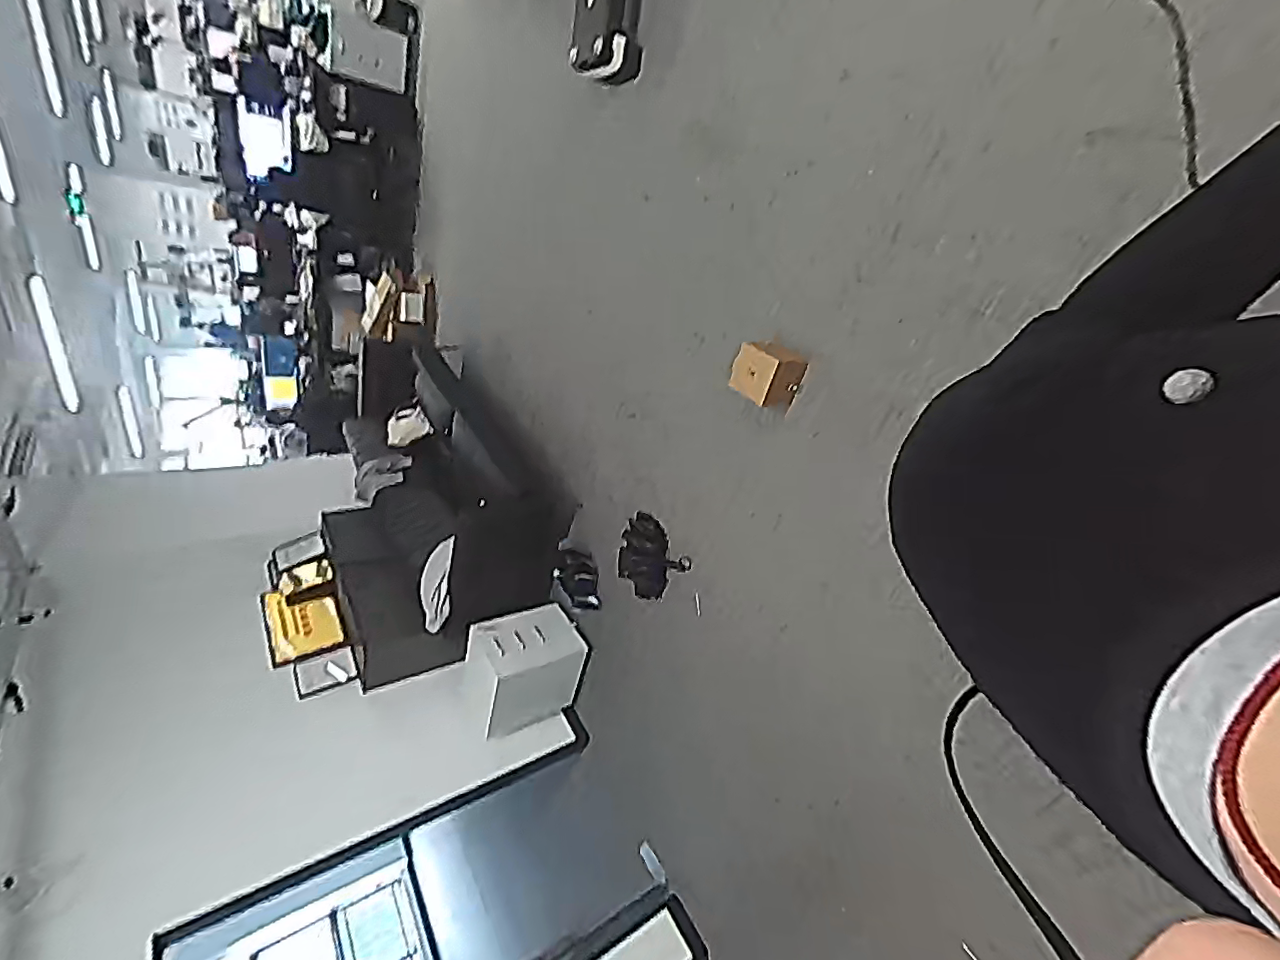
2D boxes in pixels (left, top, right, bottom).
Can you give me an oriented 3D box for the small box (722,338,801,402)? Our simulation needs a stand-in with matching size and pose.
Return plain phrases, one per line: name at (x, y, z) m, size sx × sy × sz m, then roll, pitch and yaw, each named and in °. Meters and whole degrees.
small box at (0.422, -0.384, 1.880) m, size 0.179 × 0.176 × 0.168 m, roll 42°, pitch 129°, yaw 38°
